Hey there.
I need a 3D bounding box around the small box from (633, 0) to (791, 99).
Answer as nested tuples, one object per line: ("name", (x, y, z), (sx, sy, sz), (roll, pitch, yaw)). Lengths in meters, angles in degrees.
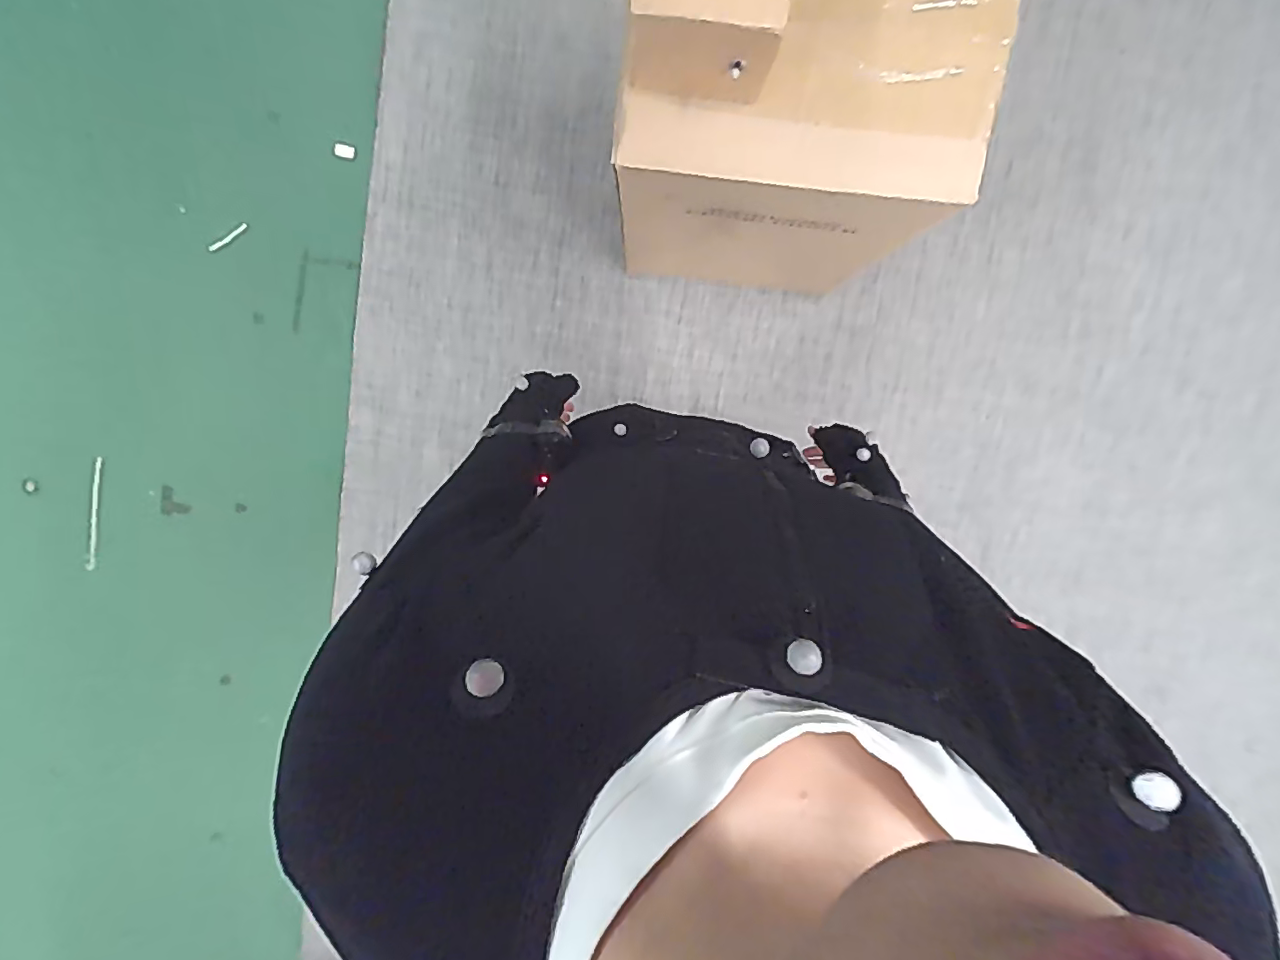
("small box", (0.087, -0.602, 0.665), (0.179, 0.176, 0.168), (5, 100, 1))
